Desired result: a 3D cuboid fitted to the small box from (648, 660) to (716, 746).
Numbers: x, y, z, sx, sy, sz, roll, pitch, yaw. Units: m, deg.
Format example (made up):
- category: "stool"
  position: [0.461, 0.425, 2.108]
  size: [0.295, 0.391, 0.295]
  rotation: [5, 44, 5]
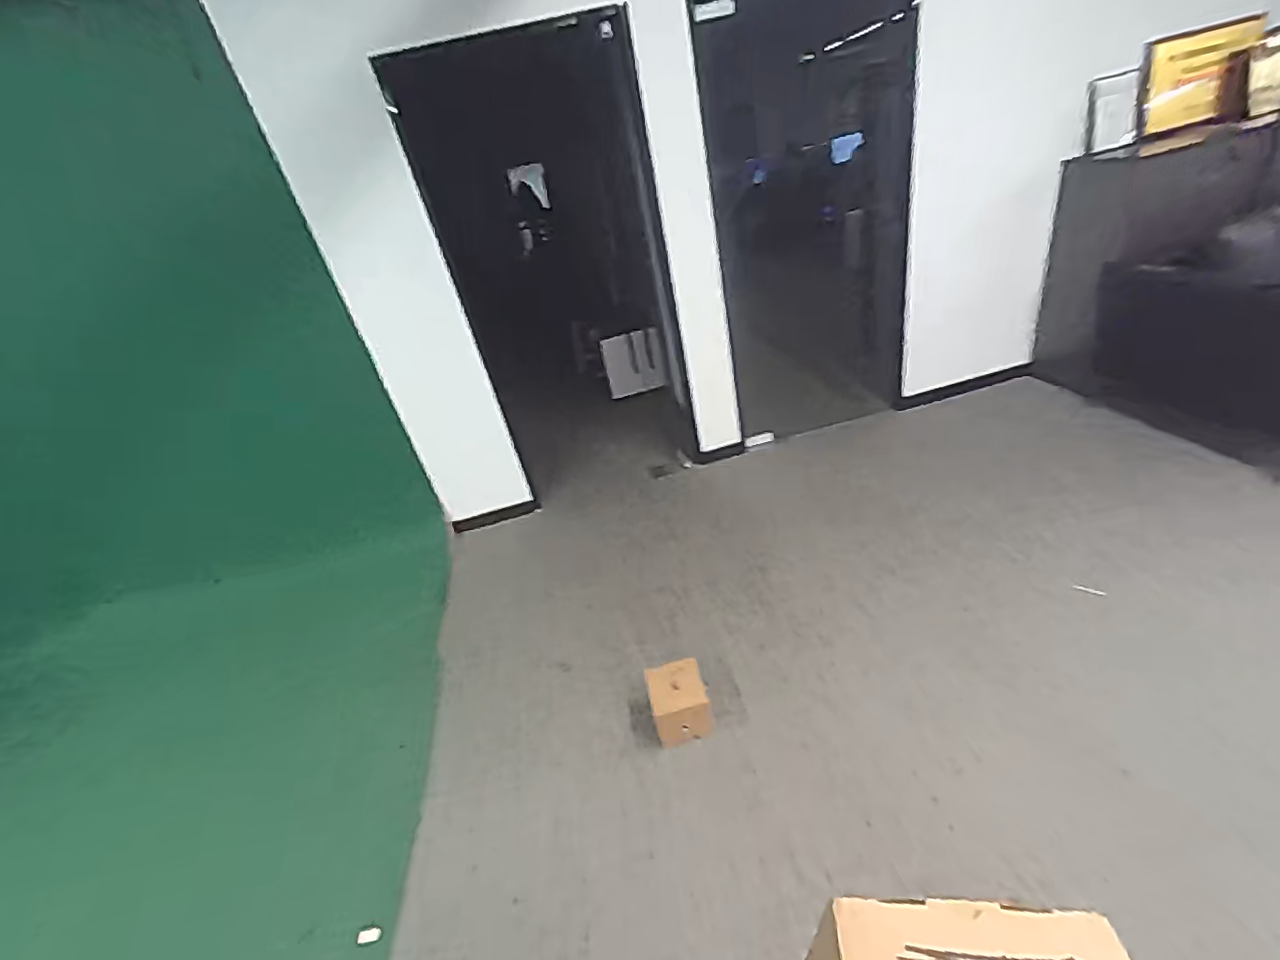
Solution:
- category: "small box"
  position: [0.132, 0.701, 1.685]
  size: [0.168, 0.176, 0.179]
  rotation: [-14, 31, -2]
